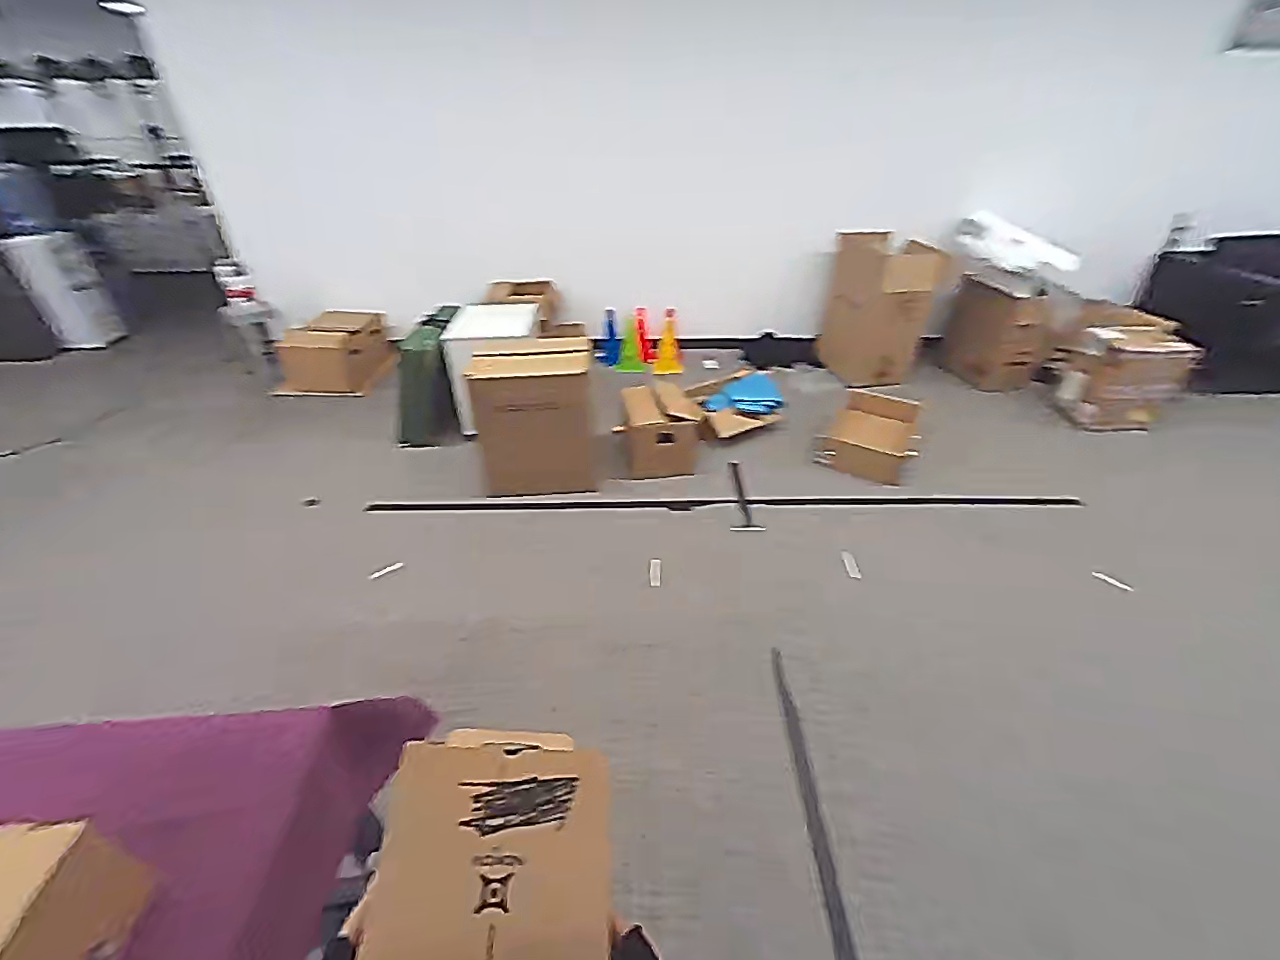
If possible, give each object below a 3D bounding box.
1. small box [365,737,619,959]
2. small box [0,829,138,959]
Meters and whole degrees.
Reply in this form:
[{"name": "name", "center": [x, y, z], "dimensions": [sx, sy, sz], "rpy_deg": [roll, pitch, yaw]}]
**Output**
[{"name": "small box", "center": [-0.115, 0.328, 0.441], "dimensions": [0.168, 0.176, 0.179], "rpy_deg": [8, 50, -12]}, {"name": "small box", "center": [-0.697, 0.510, 0.573], "dimensions": [0.168, 0.176, 0.179], "rpy_deg": [-4, 35, -5]}]
